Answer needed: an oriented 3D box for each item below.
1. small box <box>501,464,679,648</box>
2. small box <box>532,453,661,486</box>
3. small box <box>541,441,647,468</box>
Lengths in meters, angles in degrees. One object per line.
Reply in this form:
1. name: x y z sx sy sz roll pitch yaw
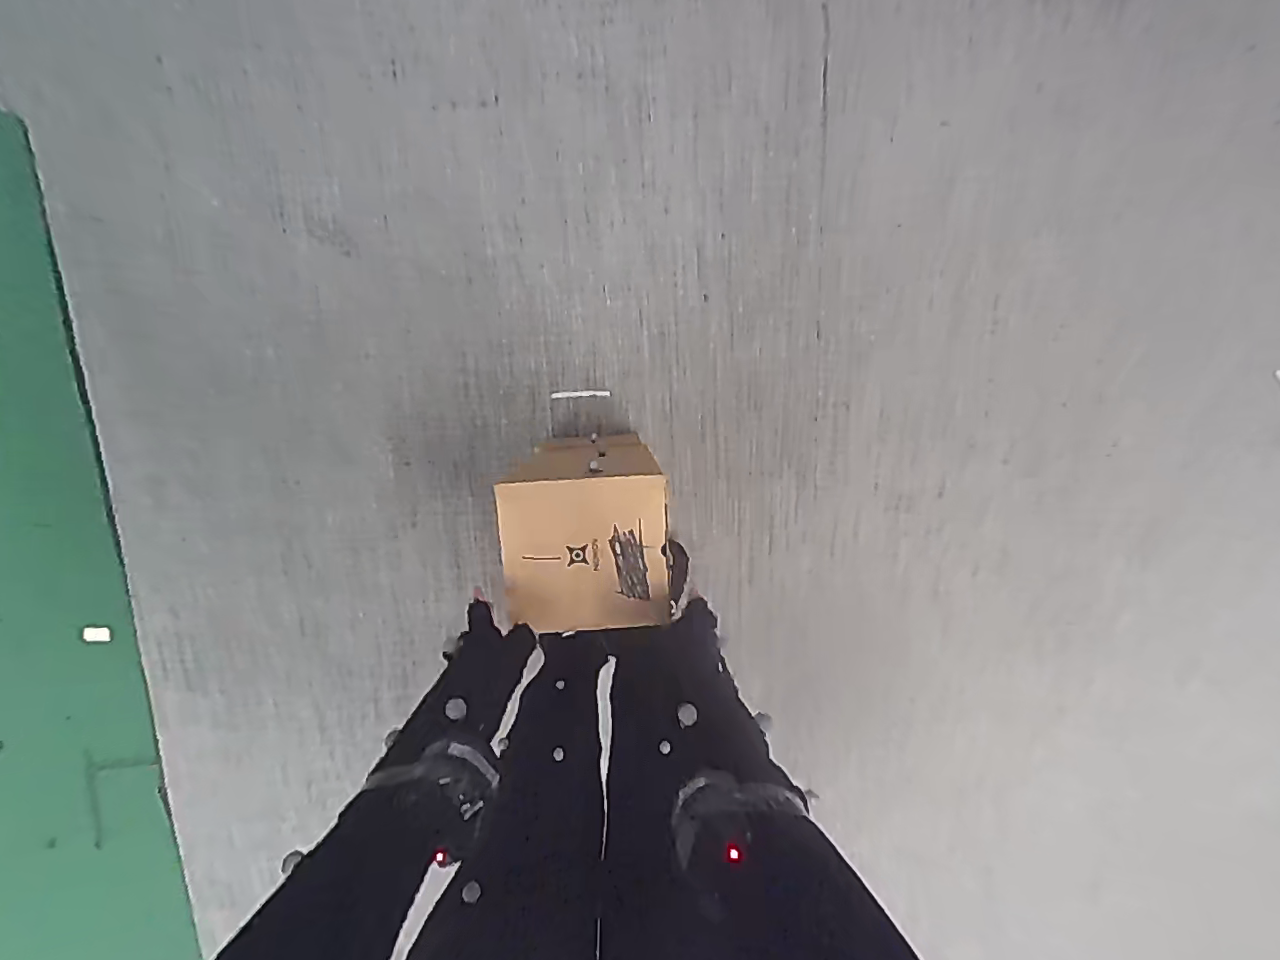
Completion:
1. small box: -0.056 0.078 0.648 0.179 0.176 0.168 -6 100 -3
2. small box: -0.061 0.052 0.810 0.179 0.176 0.168 -4 99 -2
3. small box: -0.074 0.022 0.971 0.179 0.176 0.168 -3 99 -1
